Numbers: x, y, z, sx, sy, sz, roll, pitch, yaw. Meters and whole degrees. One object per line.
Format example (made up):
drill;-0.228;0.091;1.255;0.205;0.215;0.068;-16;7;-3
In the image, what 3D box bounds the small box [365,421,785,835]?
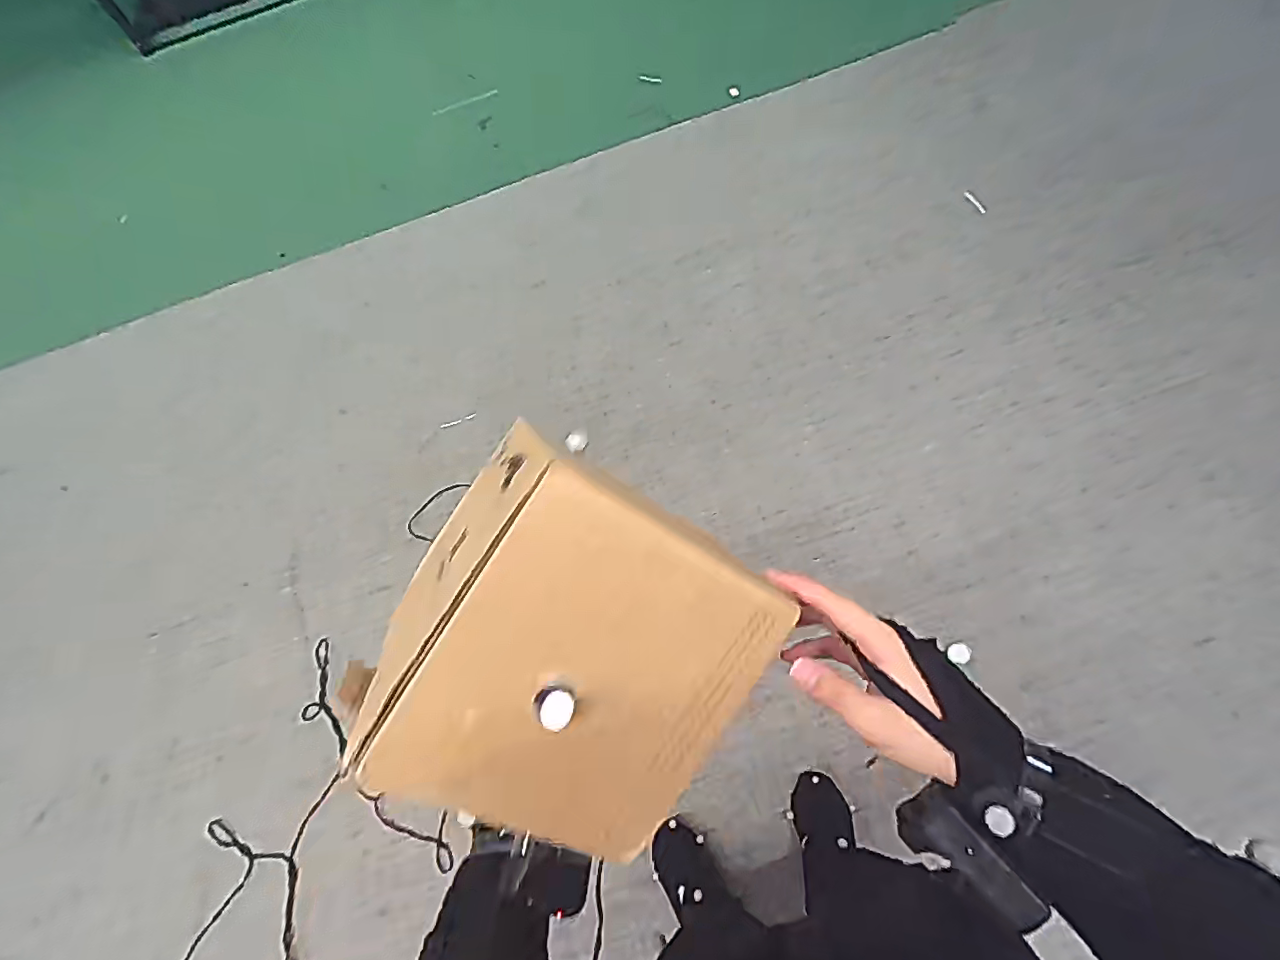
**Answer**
small box;-0.041;0.085;0.354;0.176;0.168;0.179;33;91;-22
